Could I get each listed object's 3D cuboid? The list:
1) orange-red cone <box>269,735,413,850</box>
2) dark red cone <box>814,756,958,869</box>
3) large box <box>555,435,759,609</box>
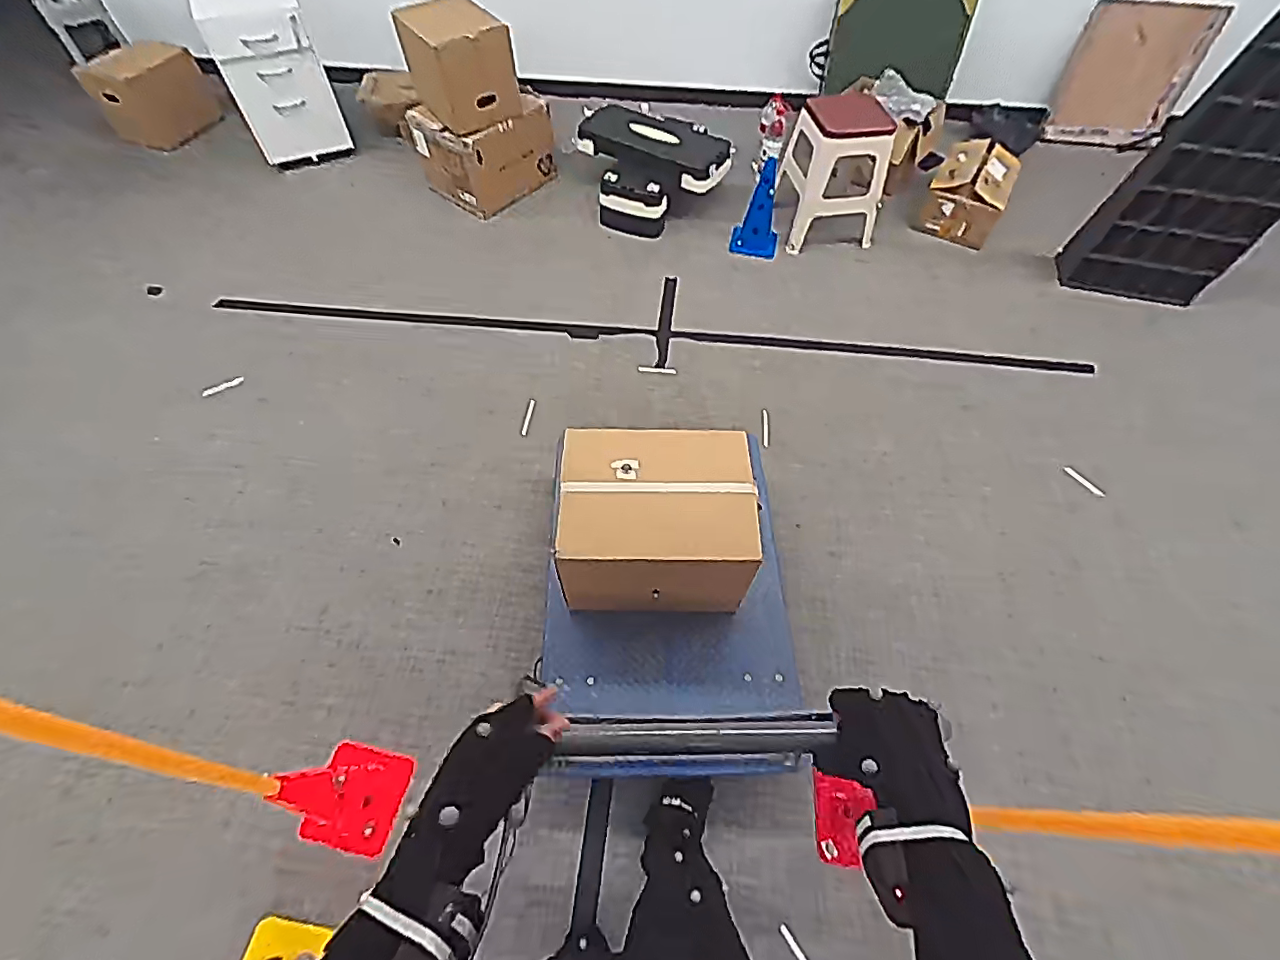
[{"bbox_3d":[-0.634,0.608,1.083,0.198,0.360,0.199,13,57,6],"label":"orange-red cone"},{"bbox_3d":[0.500,0.645,1.063,0.201,0.394,0.202,7,58,1],"label":"dark red cone"},{"bbox_3d":[0.033,0.107,1.249,0.408,0.320,0.320,1,58,0],"label":"large box"}]
